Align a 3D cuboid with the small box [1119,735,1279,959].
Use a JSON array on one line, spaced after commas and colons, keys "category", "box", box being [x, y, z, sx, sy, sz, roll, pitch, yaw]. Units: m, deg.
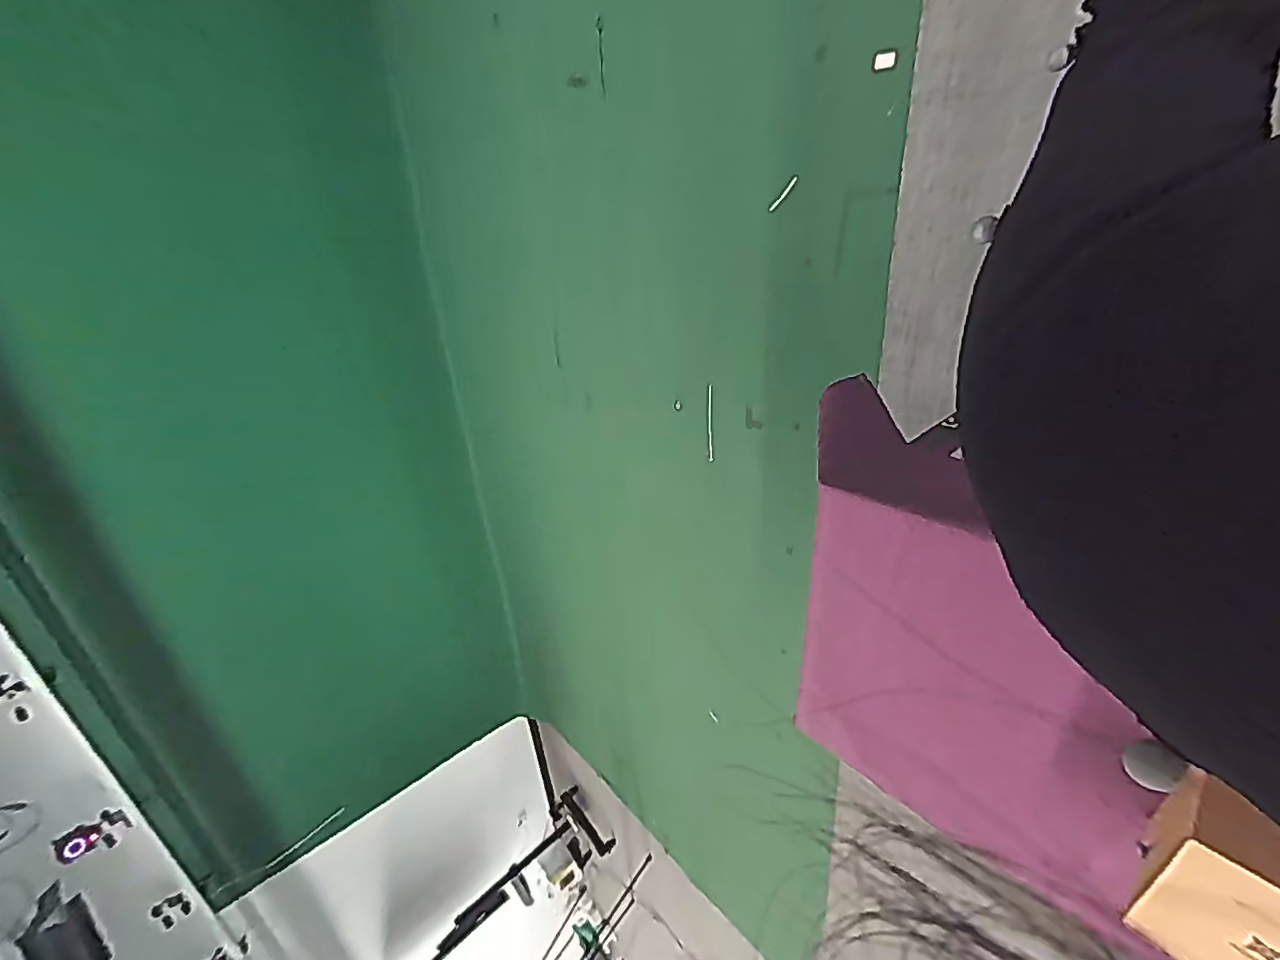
[{"category": "small box", "box": [0.659, 0.420, 0.570, 0.168, 0.176, 0.179, 27, 129, 41]}]
